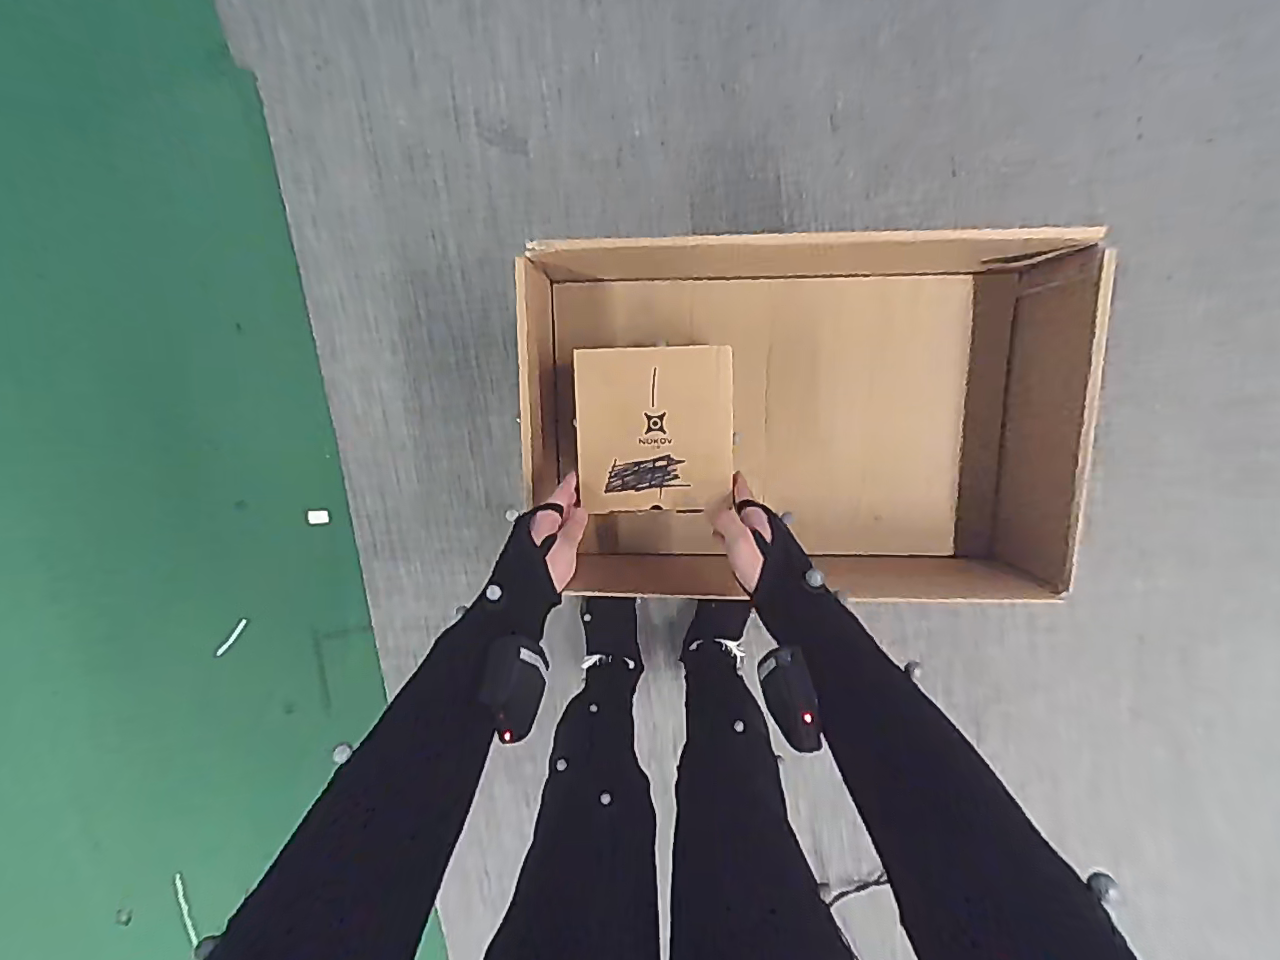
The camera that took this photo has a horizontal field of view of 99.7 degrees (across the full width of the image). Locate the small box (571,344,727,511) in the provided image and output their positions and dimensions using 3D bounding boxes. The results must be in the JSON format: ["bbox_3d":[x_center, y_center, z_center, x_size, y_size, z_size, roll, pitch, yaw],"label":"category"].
[{"bbox_3d":[0.017,-0.067,0.650,0.168,0.176,0.179,-1,99,5],"label":"small box"}]
